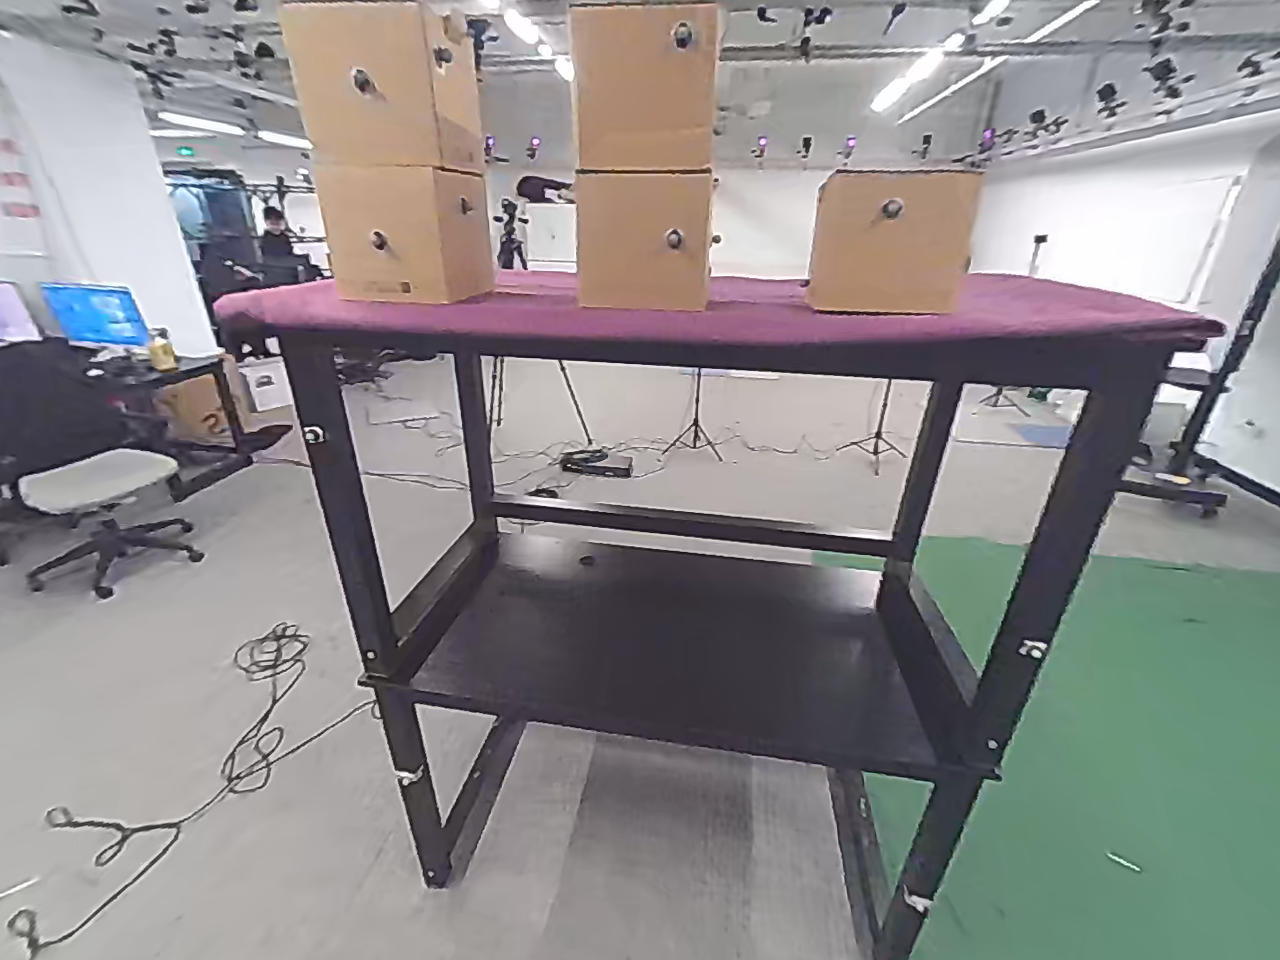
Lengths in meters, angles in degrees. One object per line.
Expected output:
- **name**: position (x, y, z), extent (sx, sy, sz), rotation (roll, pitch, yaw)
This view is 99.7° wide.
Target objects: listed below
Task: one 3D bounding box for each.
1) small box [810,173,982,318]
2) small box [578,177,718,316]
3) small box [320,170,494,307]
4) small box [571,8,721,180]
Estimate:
- **small box**: position (0.339, -0.321, 0.759), extent (0.179, 0.176, 0.168), rotation (5, 23, 10)
- **small box**: position (0.017, -0.334, 0.781), extent (0.179, 0.176, 0.168), rotation (4, 24, 7)
- **small box**: position (-0.325, -0.354, 0.798), extent (0.168, 0.176, 0.179), rotation (5, 26, 5)
- **small box**: position (0.014, -0.484, 0.715), extent (0.179, 0.176, 0.168), rotation (4, 24, 5)
